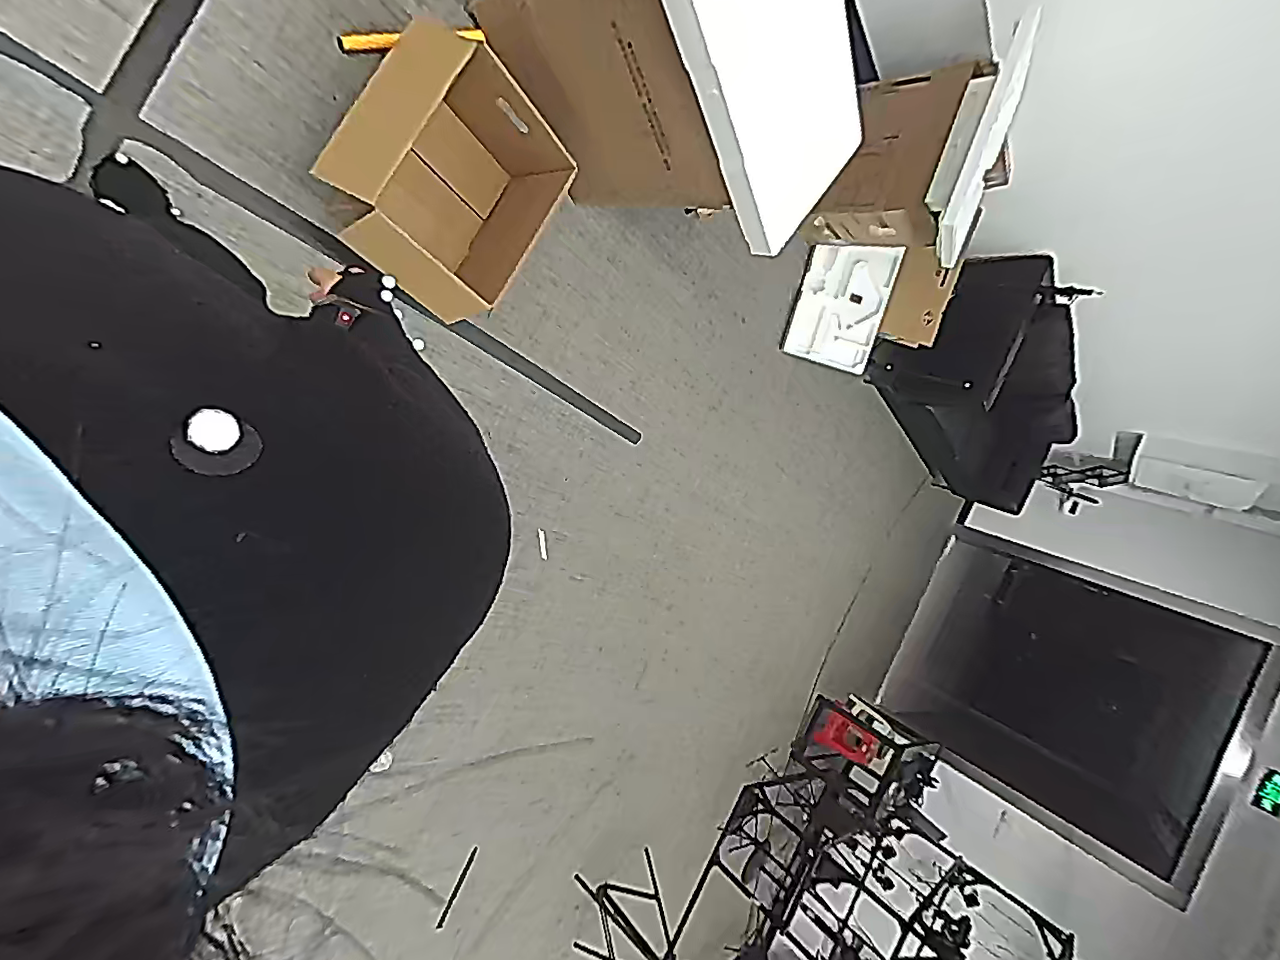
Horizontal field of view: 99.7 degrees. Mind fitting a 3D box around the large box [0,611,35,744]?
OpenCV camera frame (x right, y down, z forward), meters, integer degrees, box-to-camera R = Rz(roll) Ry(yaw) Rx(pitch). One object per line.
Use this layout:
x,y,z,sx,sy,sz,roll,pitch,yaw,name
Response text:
-1.182,0.357,0.732,0.408,0.320,0.320,31,84,-47,large box
